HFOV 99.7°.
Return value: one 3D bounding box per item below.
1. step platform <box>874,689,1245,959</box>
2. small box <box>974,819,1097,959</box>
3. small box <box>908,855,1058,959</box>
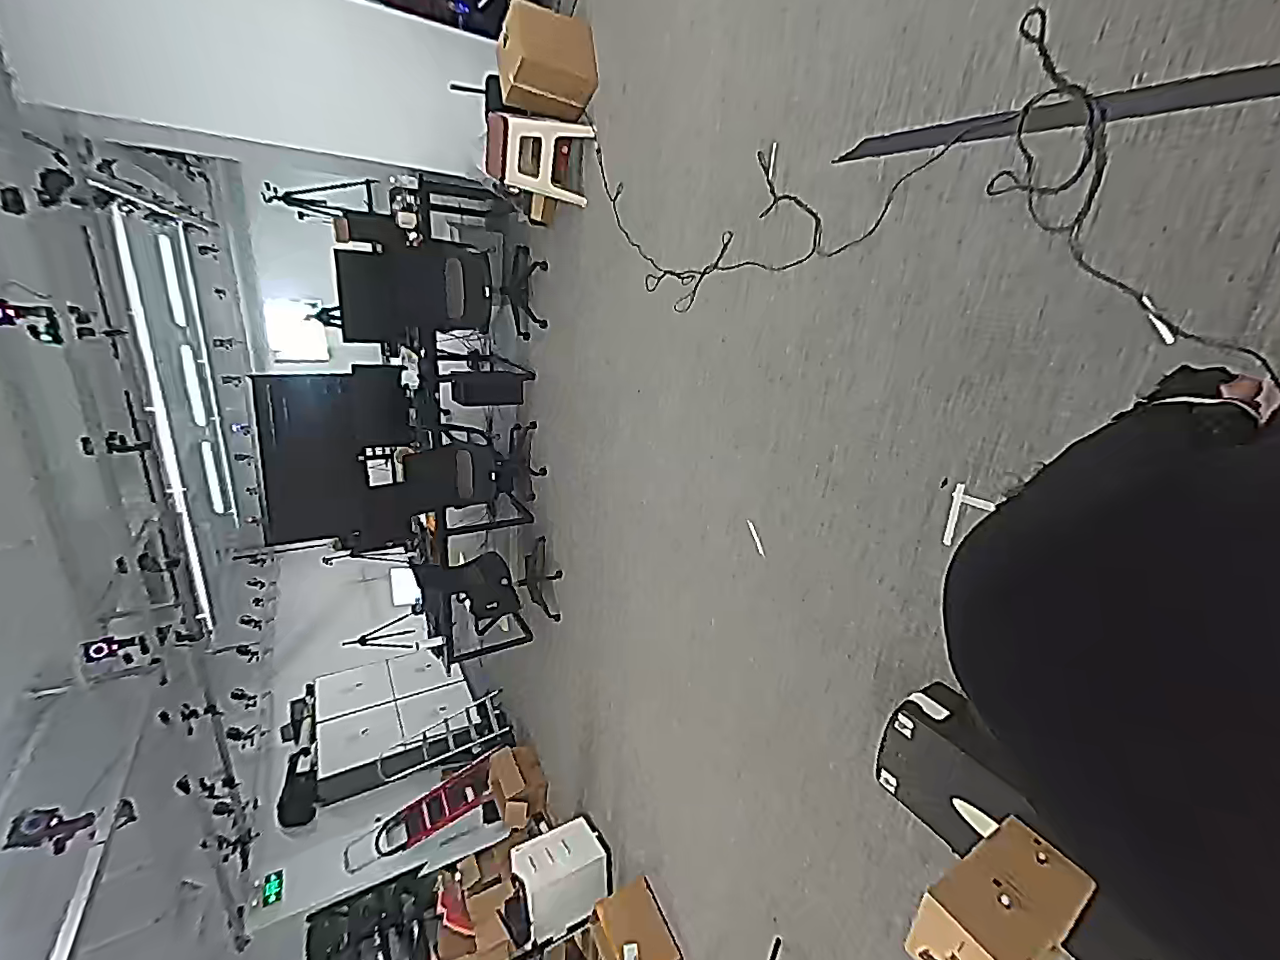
[{"bbox_3d":[0.905,0.830,1.285,0.684,0.204,0.286,32,124,52],"label":"step platform"},{"bbox_3d":[0.800,0.861,1.126,0.168,0.176,0.179,34,125,51],"label":"small box"},{"bbox_3d":[0.660,0.885,1.043,0.168,0.176,0.179,34,125,52],"label":"small box"}]
